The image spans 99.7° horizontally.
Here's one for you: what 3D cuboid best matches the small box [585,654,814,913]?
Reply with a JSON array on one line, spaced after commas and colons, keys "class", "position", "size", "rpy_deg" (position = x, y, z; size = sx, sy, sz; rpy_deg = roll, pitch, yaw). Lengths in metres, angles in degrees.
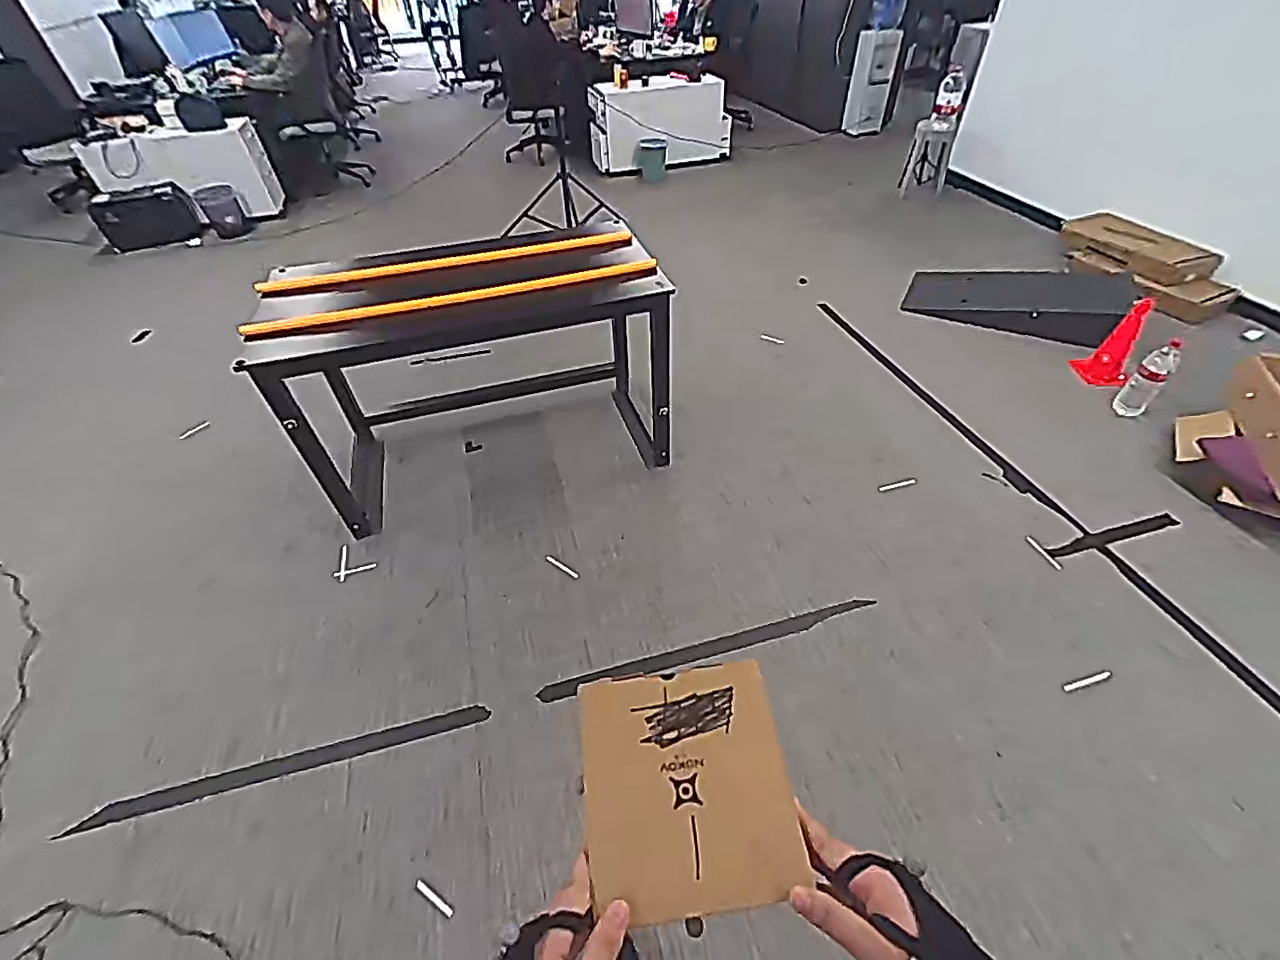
[{"class": "small box", "position": [0.041, 0.288, 0.511], "size": [0.168, 0.176, 0.179], "rpy_deg": [-8, 53, -3]}]
